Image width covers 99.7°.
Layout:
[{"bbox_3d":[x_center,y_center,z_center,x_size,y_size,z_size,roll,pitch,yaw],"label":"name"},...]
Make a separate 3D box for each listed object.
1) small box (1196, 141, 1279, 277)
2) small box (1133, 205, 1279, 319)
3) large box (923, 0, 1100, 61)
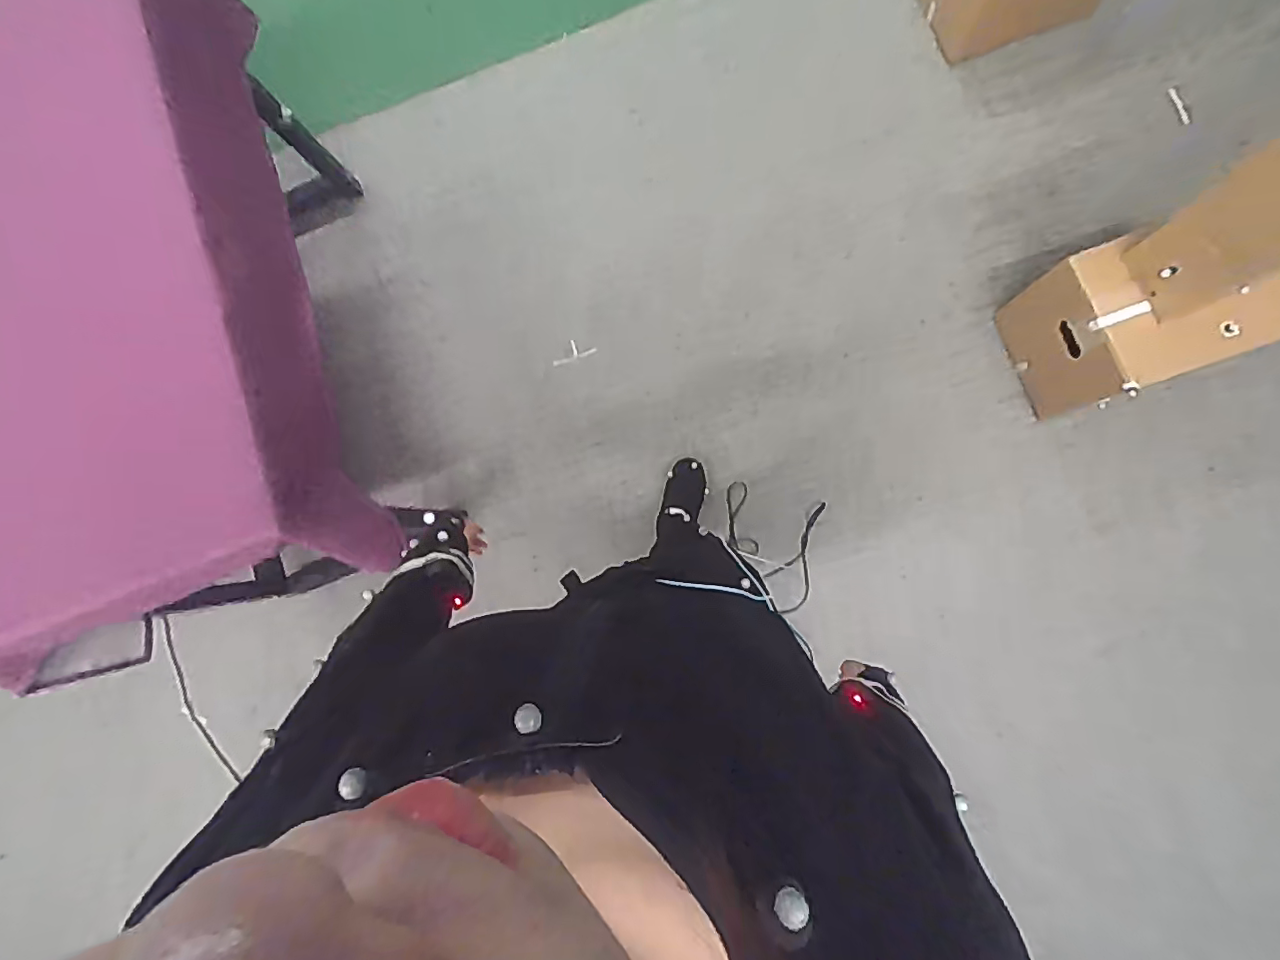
[{"bbox_3d":[1.073,-0.451,0.860,0.168,0.176,0.179,-22,81,4],"label":"small box"},{"bbox_3d":[1.098,-0.433,1.022,0.179,0.176,0.168,-22,81,5],"label":"small box"},{"bbox_3d":[0.996,-1.385,1.369,0.408,0.320,0.320,-19,82,4],"label":"large box"}]
